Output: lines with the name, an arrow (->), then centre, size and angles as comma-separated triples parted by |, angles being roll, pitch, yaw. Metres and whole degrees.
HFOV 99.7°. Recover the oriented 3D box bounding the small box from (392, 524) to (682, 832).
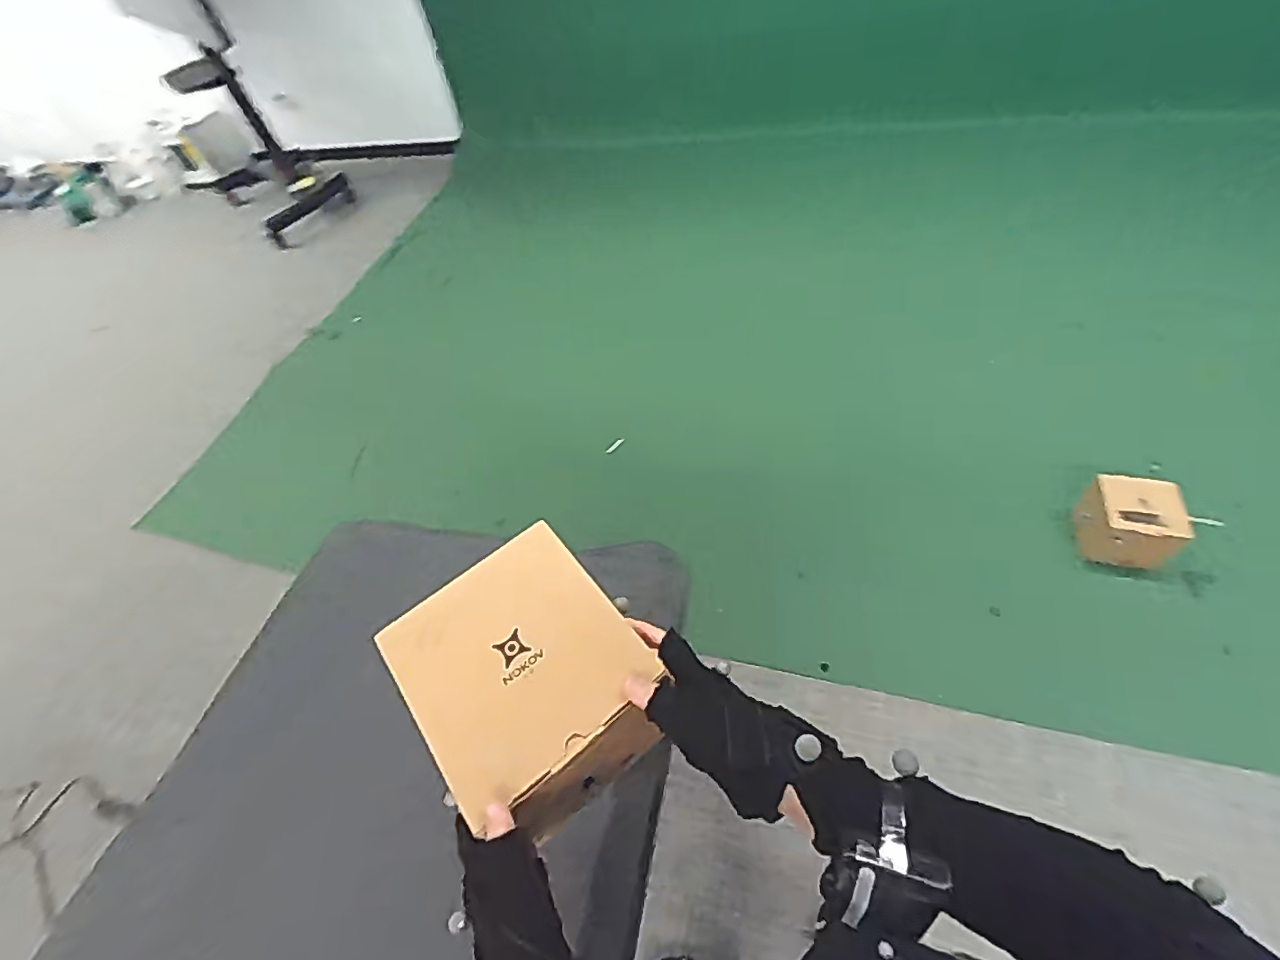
small box -> -0.079, 0.179, 0.480 | 0.168, 0.176, 0.179 | -35, 59, -17
